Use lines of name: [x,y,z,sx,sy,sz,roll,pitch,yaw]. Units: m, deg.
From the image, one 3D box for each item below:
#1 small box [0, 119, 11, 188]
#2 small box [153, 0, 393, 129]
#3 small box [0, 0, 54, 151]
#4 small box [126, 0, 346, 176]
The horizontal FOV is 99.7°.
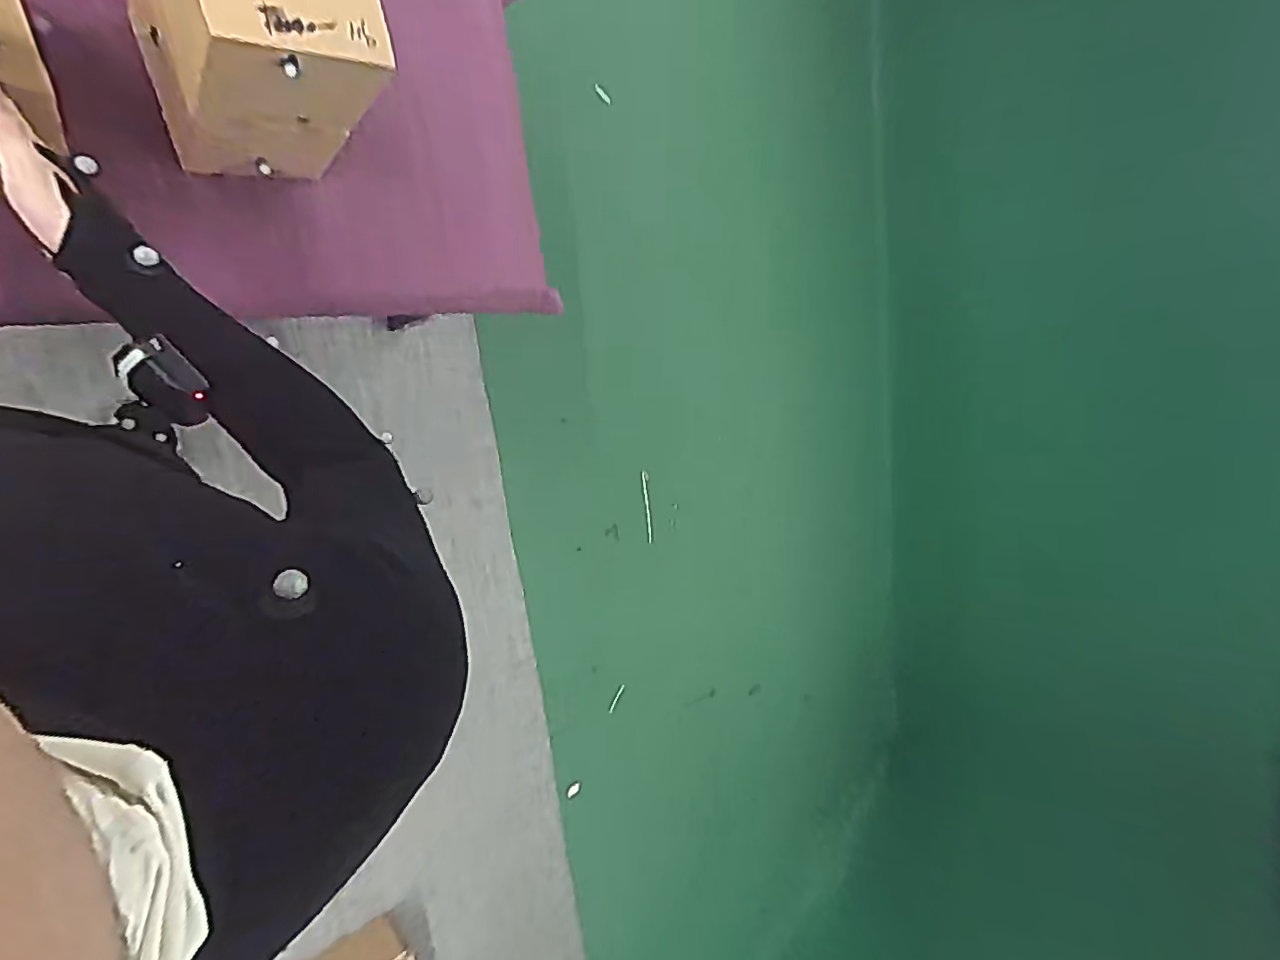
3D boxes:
small box: [-0.564,-0.315,0.354,0.168,0.176,0.179,-12,103,-41]
small box: [-0.385,-0.496,0.550,0.168,0.176,0.179,-24,109,-40]
small box: [-0.689,-0.436,0.496,0.168,0.176,0.179,-22,109,-41]
small box: [-0.499,-0.505,0.668,0.168,0.176,0.179,-23,109,-40]
